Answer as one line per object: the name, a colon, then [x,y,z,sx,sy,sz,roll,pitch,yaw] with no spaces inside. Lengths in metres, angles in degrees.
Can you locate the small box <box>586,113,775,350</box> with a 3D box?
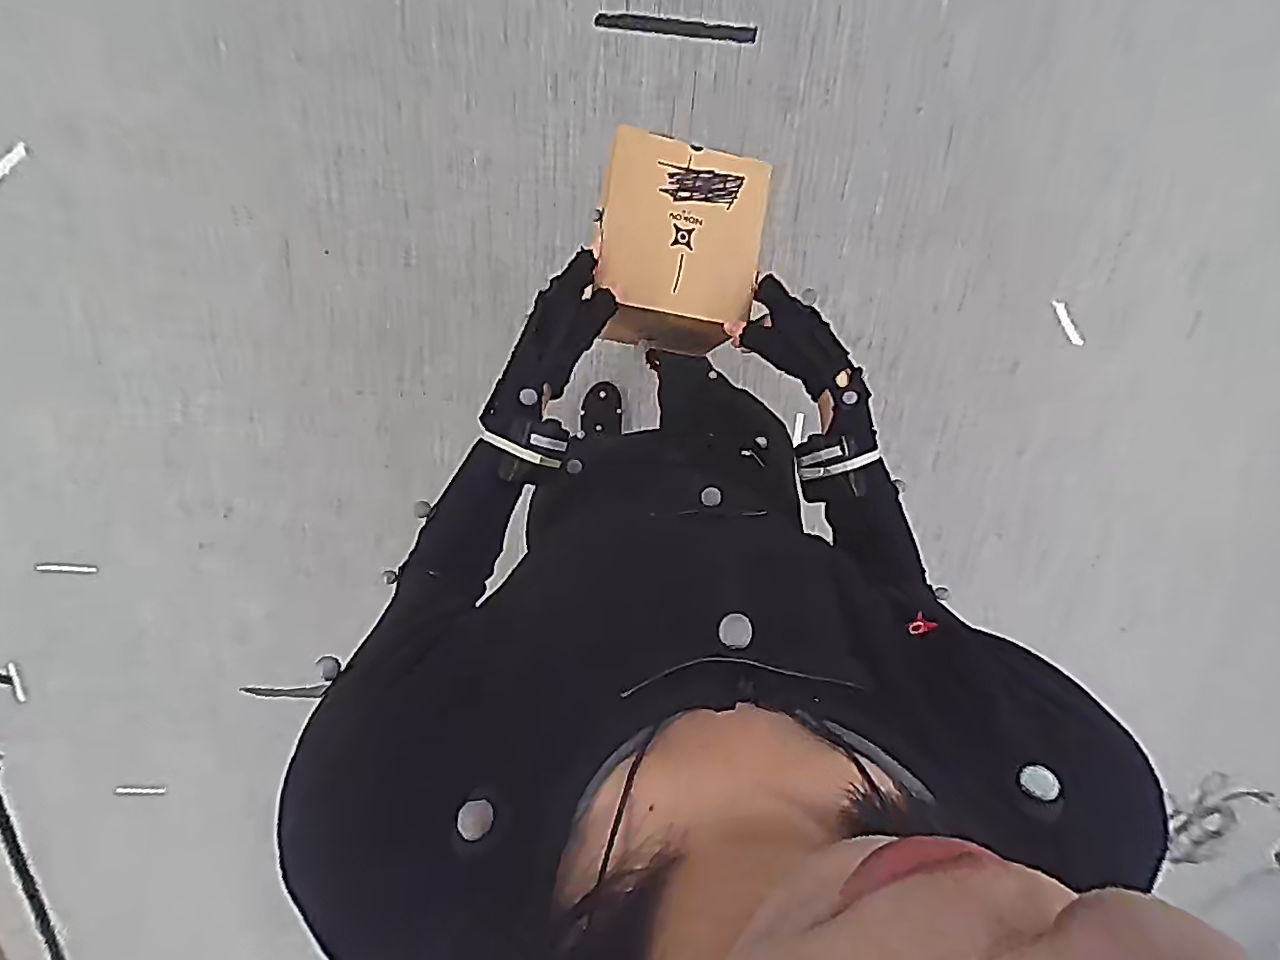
small box: [0.034,-0.262,0.616,0.168,0.176,0.179,8,91,-10]
